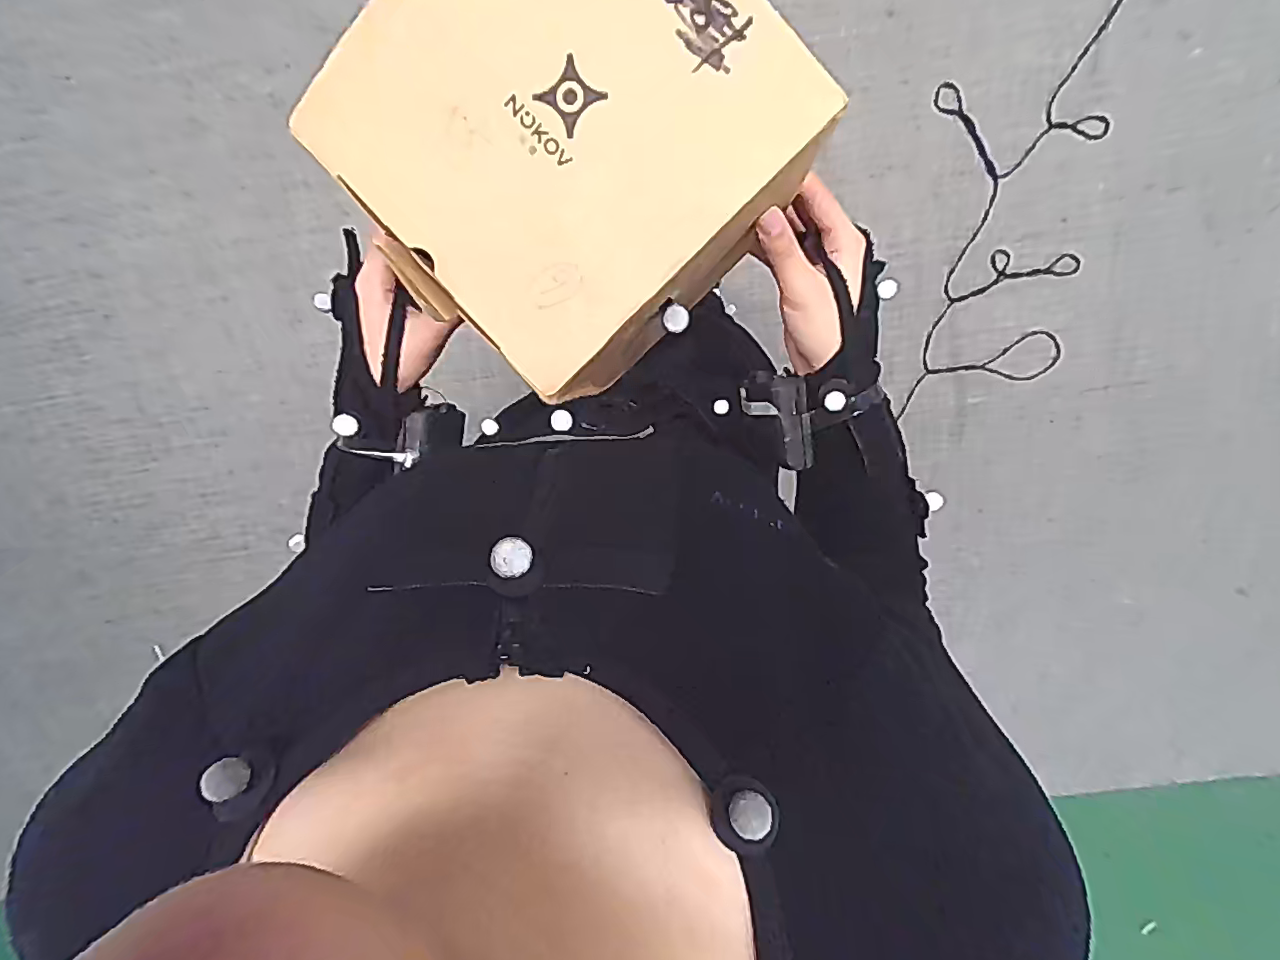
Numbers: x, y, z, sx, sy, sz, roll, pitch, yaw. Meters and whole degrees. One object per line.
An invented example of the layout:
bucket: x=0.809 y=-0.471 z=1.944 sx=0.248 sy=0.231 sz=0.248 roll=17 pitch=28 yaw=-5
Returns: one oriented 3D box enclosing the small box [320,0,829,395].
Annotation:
small box: x=-0.026 y=-0.168 z=0.317 sx=0.179 sy=0.176 sz=0.168 roll=-43 pitch=94 yaw=11
